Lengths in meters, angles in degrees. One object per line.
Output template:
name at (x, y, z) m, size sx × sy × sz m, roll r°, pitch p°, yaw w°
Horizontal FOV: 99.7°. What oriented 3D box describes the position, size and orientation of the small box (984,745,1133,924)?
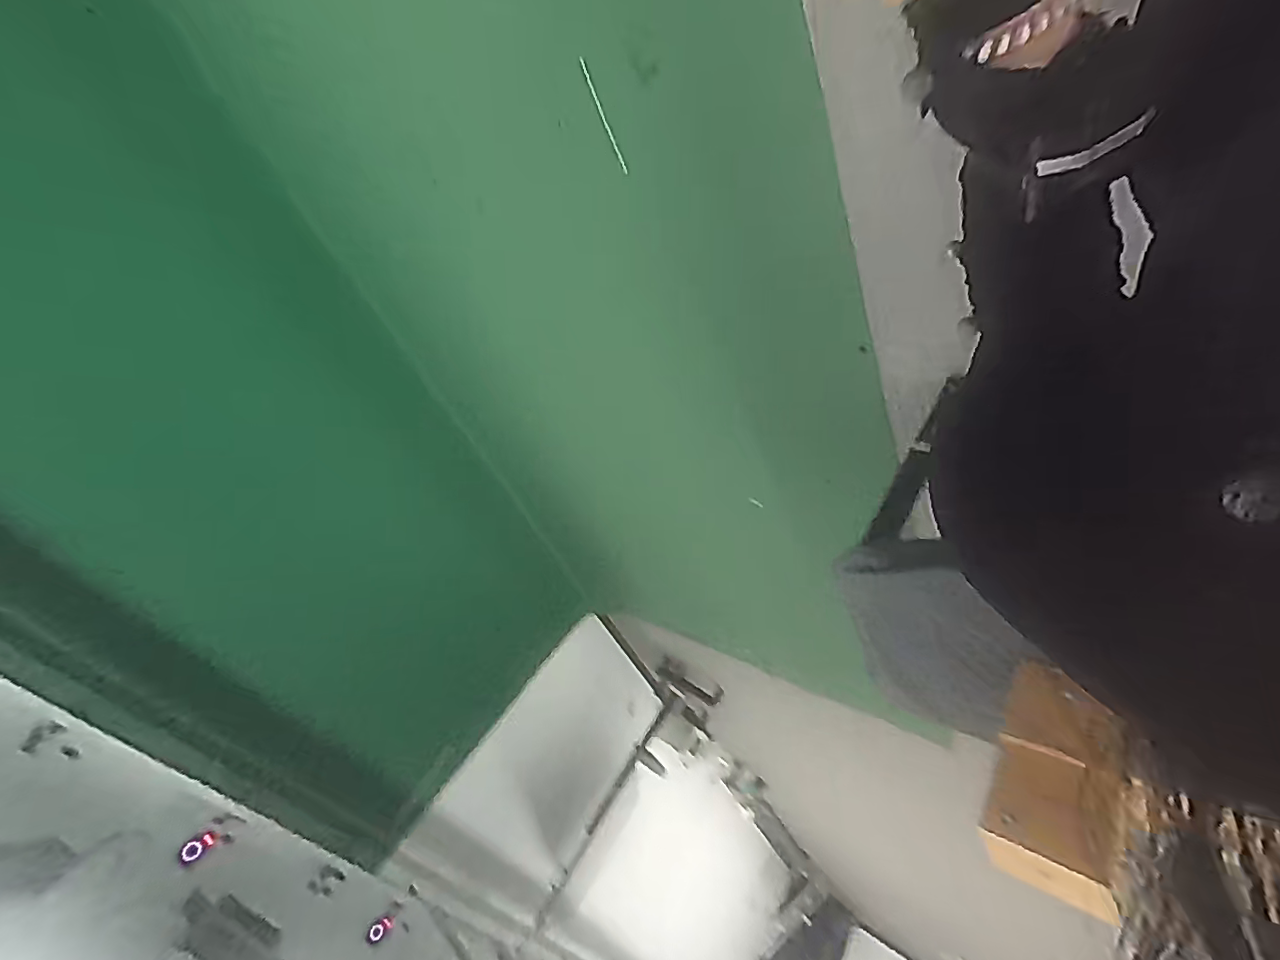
small box at (0.716, 0.588, 0.919) m, size 0.179 × 0.176 × 0.168 m, roll 4°, pitch 135°, yaw 47°
